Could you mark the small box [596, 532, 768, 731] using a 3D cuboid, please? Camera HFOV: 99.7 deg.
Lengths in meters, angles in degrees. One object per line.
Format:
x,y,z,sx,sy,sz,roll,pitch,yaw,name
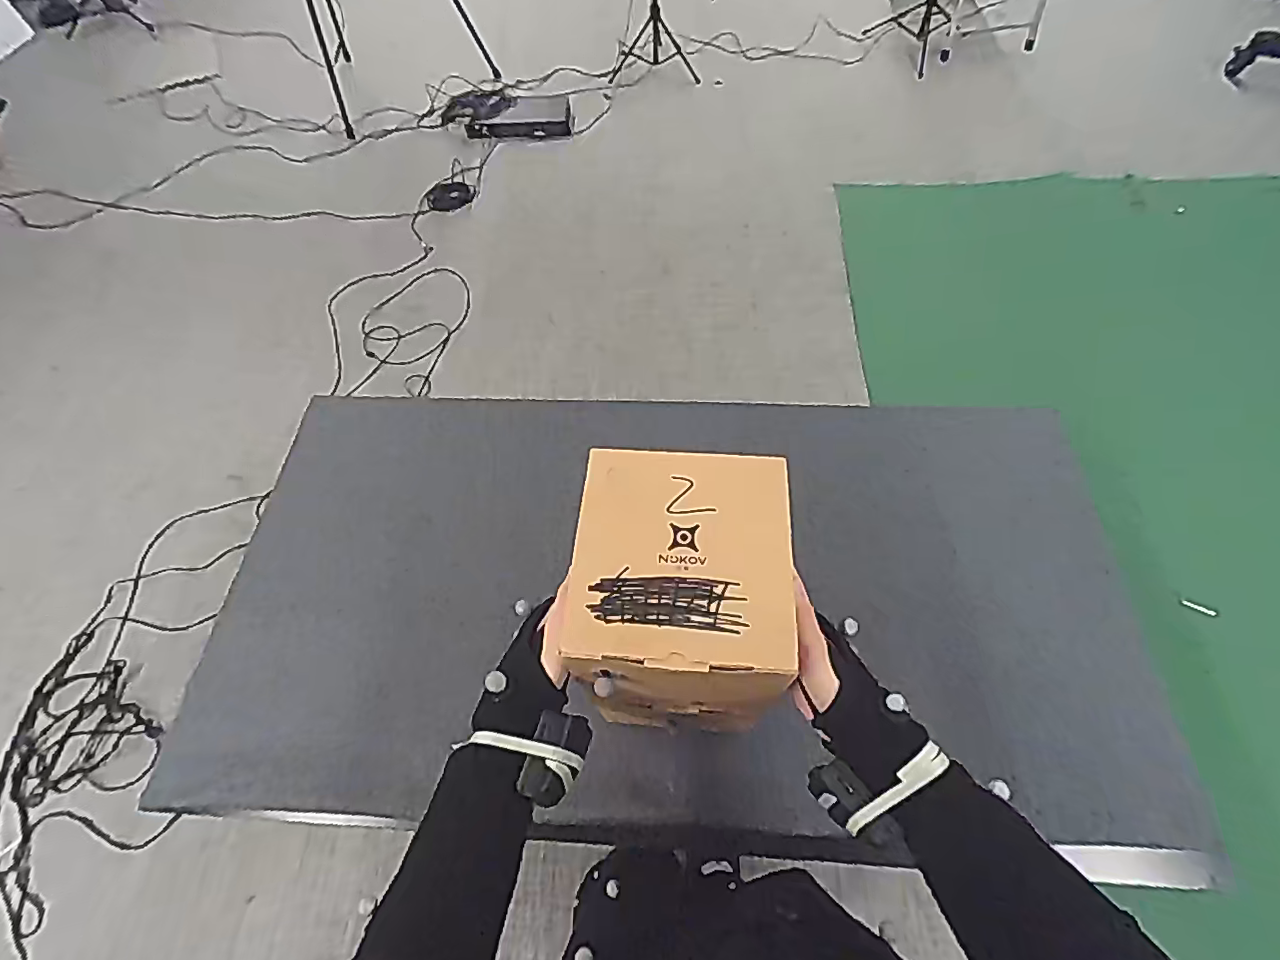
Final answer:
0.049,0.176,0.616,0.168,0.176,0.179,2,60,5,small box
